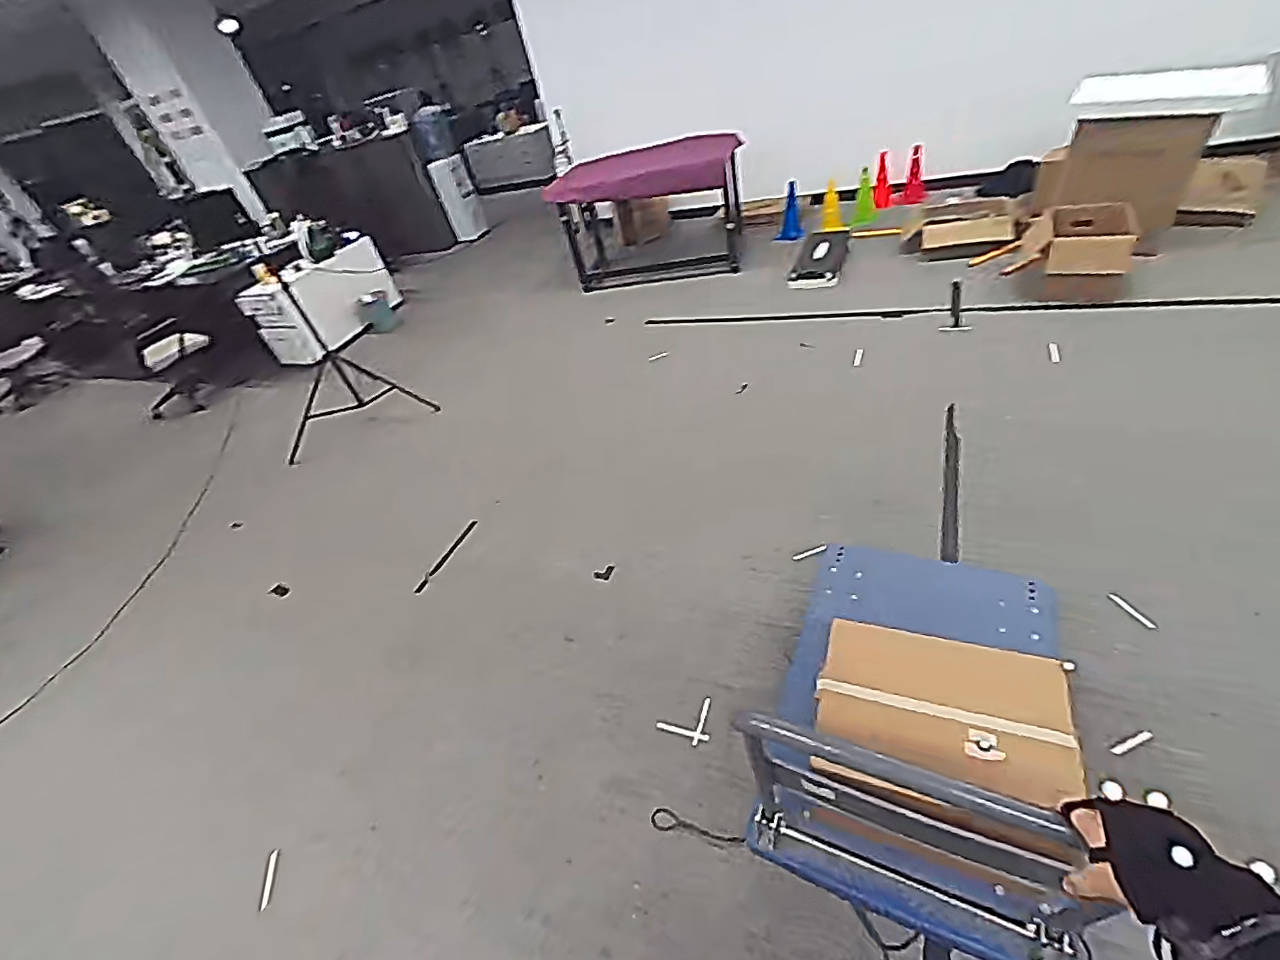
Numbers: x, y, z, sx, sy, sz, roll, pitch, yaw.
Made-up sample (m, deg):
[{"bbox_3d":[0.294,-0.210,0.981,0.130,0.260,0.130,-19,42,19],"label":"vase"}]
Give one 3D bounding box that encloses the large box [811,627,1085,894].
[{"bbox_3d":[0.567,0.542,1.080,0.408,0.320,0.320,6,45,23],"label":"large box"}]
